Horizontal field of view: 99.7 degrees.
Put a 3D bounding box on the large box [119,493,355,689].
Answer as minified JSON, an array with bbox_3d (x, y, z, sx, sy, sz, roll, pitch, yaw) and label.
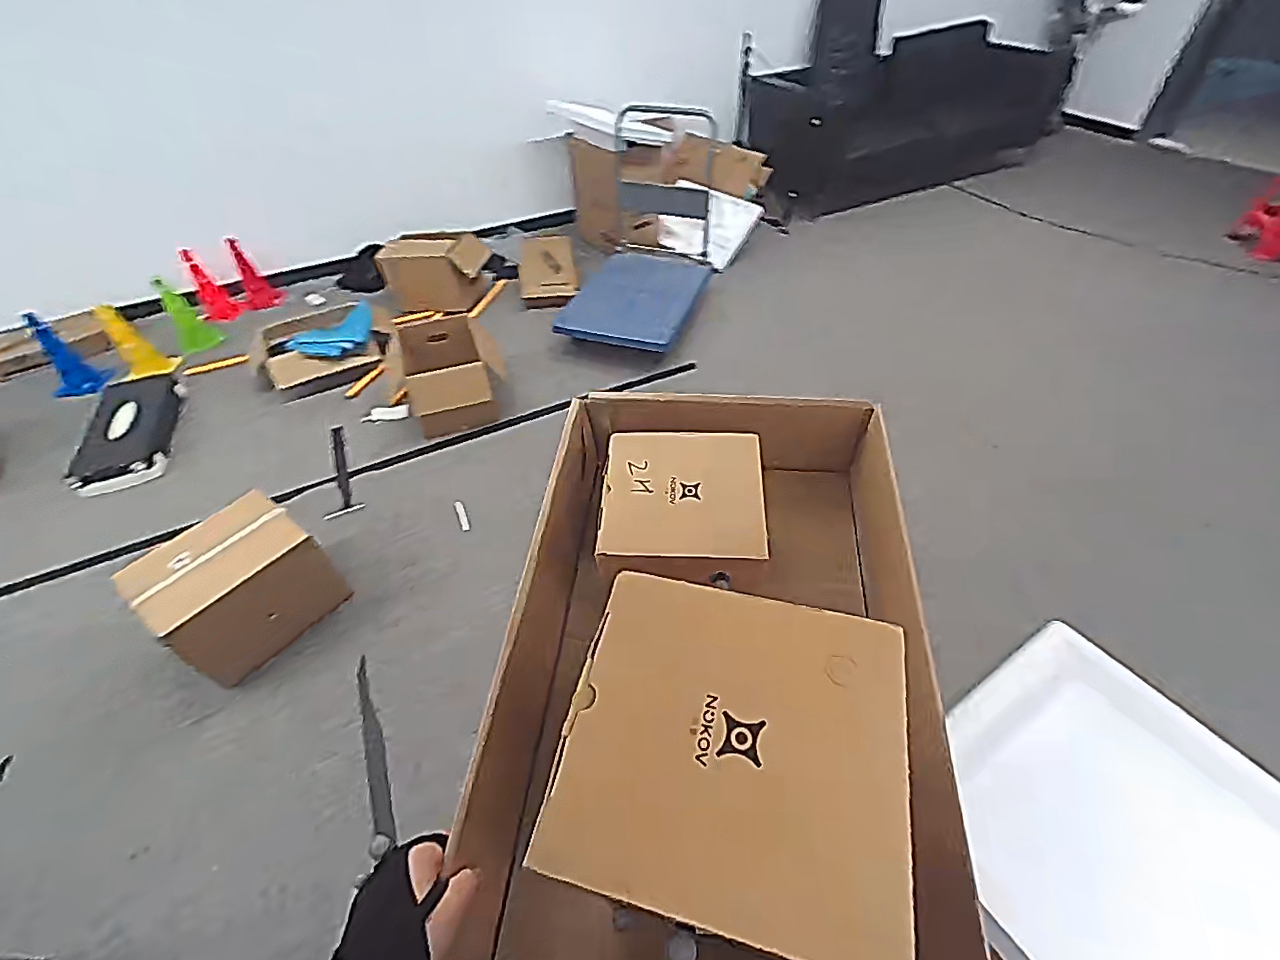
[{"bbox_3d":[-1.159,0.321,1.600,0.320,0.320,0.408,27,54,27],"label":"large box"}]
